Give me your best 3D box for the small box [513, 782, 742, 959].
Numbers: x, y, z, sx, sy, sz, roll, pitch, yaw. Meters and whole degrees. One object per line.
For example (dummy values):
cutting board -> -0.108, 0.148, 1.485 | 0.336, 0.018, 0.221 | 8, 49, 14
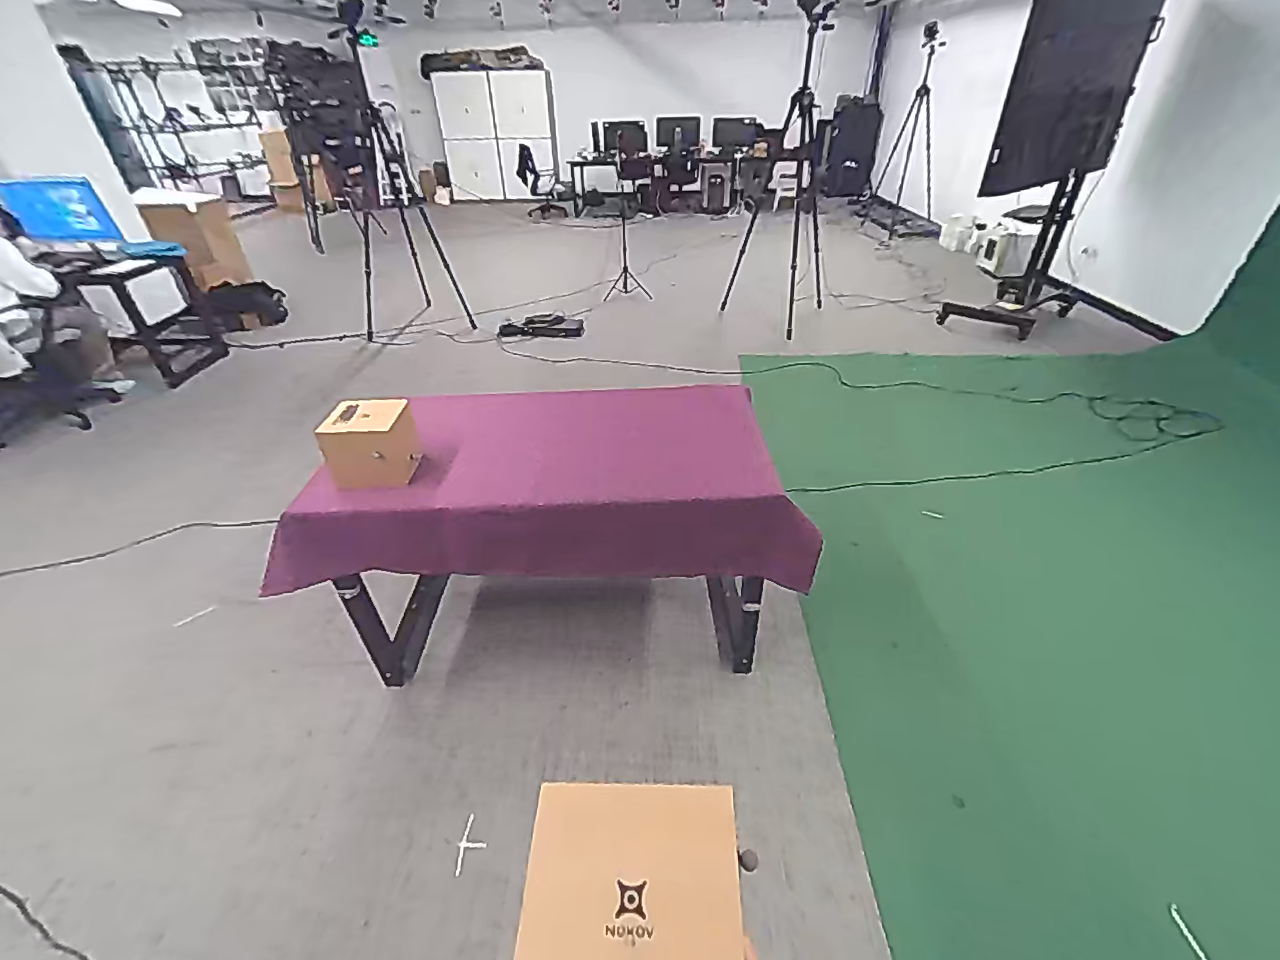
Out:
small box -> -0.001, 0.378, 0.457 | 0.168, 0.176, 0.179 | -3, 46, 7
